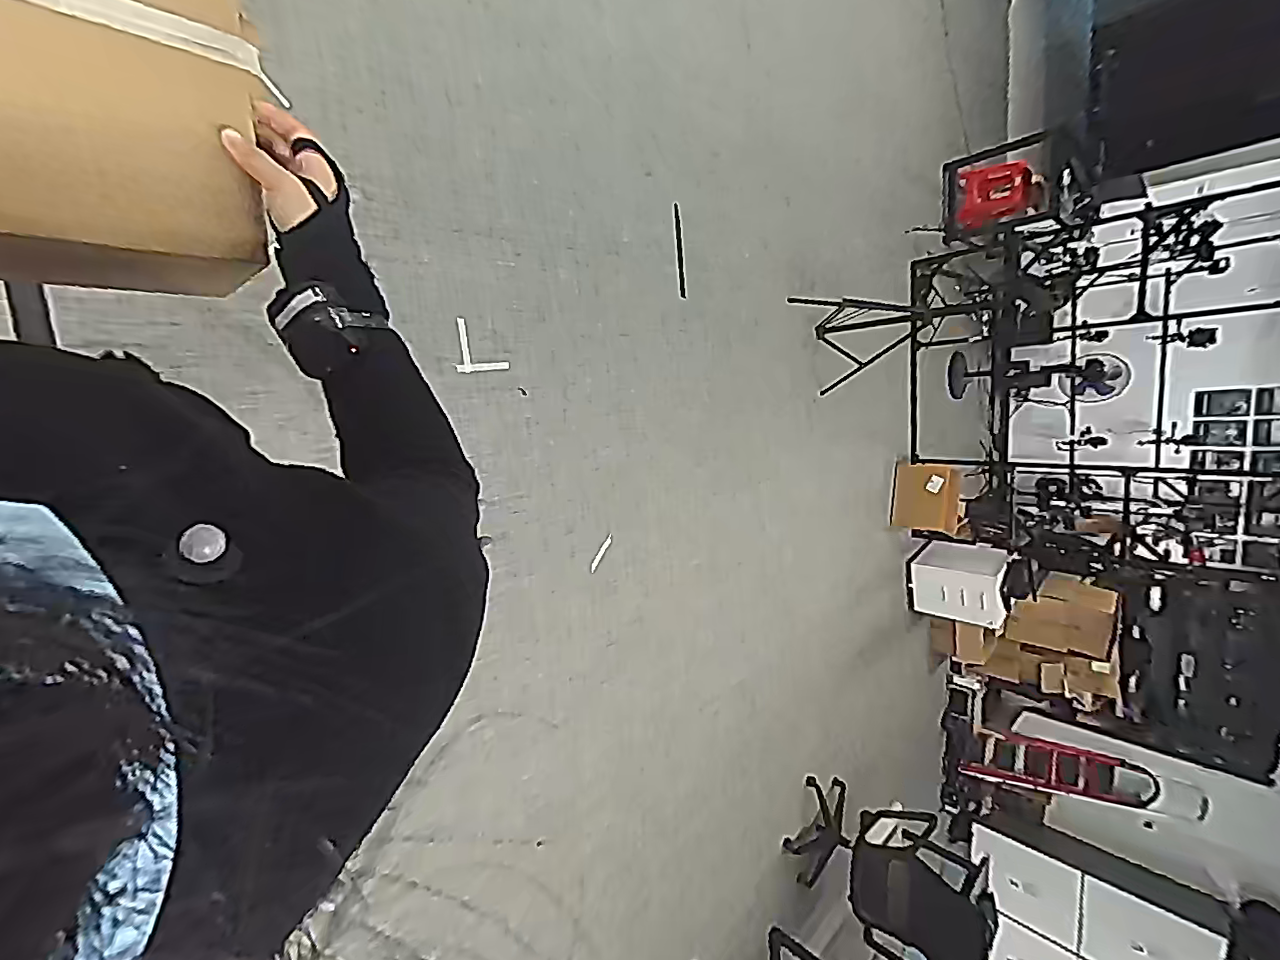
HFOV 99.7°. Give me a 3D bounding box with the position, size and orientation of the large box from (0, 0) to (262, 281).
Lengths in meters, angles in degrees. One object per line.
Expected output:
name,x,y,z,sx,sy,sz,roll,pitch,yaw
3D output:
large box,-0.572,-0.344,0.416,0.408,0.320,0.320,-10,105,-41
